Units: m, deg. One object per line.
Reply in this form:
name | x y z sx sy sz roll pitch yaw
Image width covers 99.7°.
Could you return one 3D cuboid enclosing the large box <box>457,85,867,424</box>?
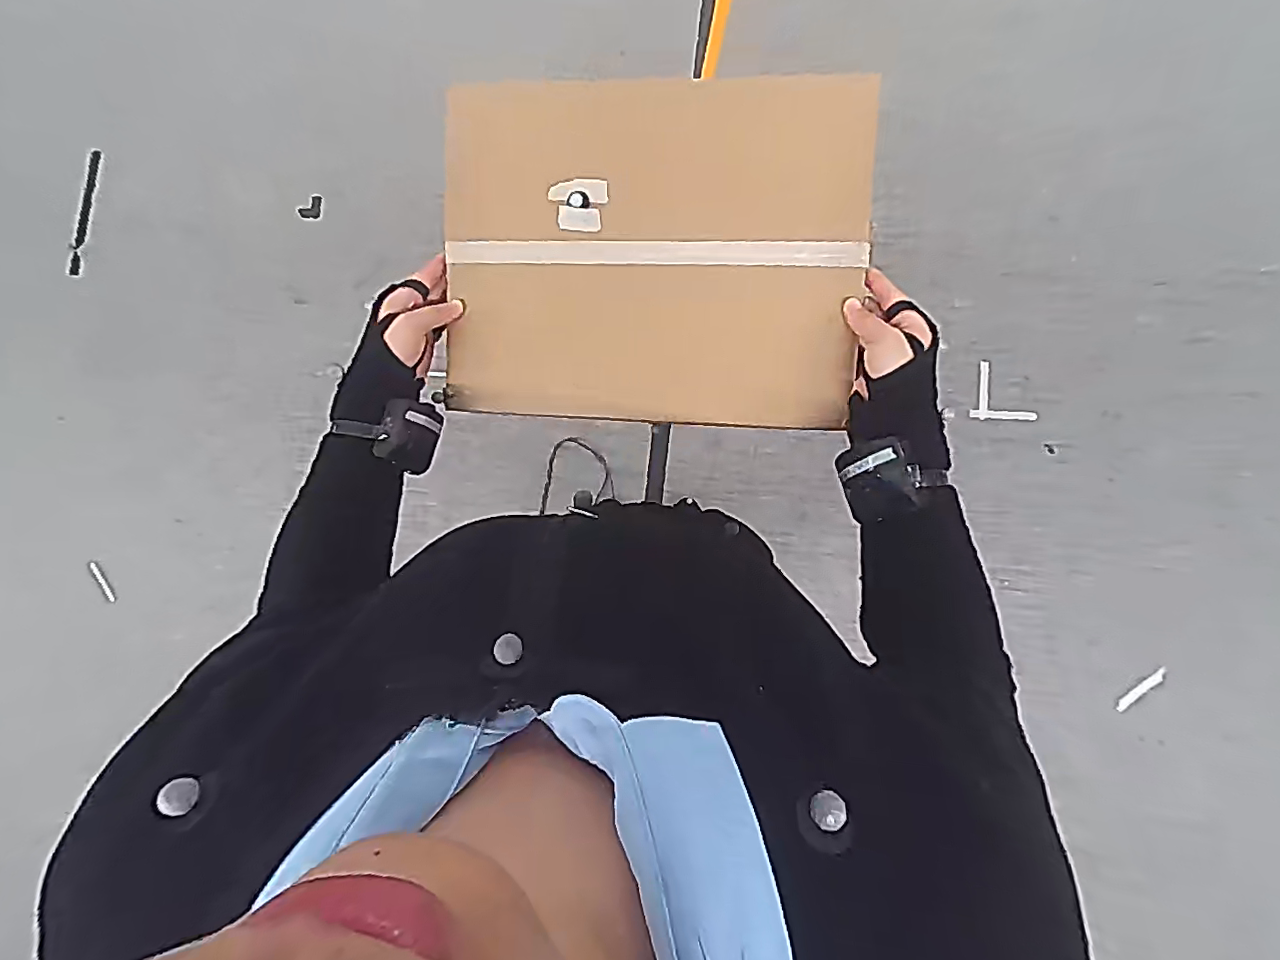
large box | 0.030 -0.231 0.679 0.408 0.320 0.320 3 95 7
